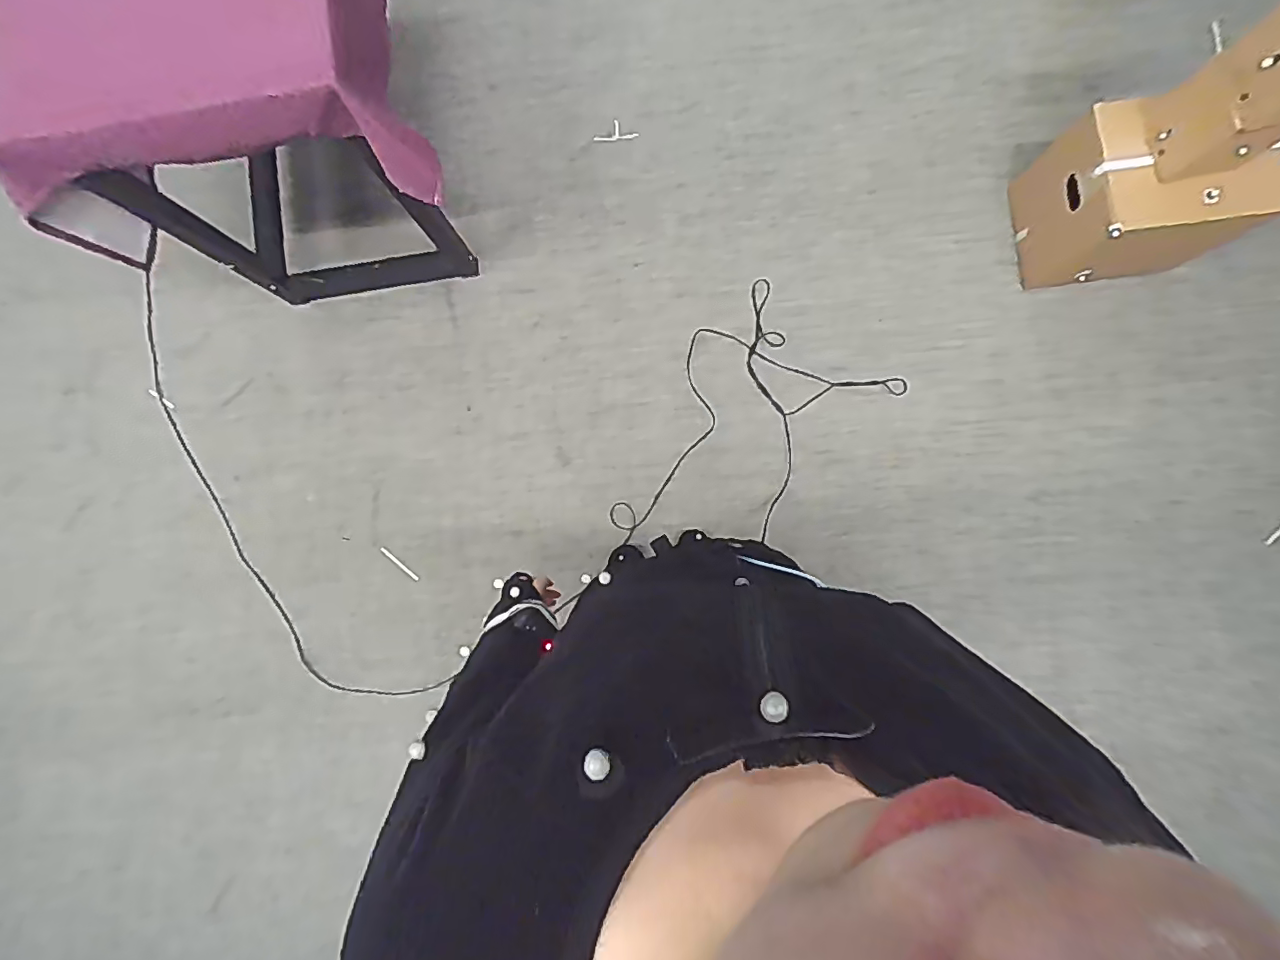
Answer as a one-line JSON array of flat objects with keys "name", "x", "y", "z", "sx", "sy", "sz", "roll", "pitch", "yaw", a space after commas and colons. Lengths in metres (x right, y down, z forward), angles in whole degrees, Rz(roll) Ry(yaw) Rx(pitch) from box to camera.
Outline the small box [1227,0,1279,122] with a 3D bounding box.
[{"name": "small box", "x": 1.228, "y": -0.787, "z": 0.970, "sx": 0.179, "sy": 0.176, "sz": 0.168, "roll": -14, "pitch": 85, "yaw": 2}]
